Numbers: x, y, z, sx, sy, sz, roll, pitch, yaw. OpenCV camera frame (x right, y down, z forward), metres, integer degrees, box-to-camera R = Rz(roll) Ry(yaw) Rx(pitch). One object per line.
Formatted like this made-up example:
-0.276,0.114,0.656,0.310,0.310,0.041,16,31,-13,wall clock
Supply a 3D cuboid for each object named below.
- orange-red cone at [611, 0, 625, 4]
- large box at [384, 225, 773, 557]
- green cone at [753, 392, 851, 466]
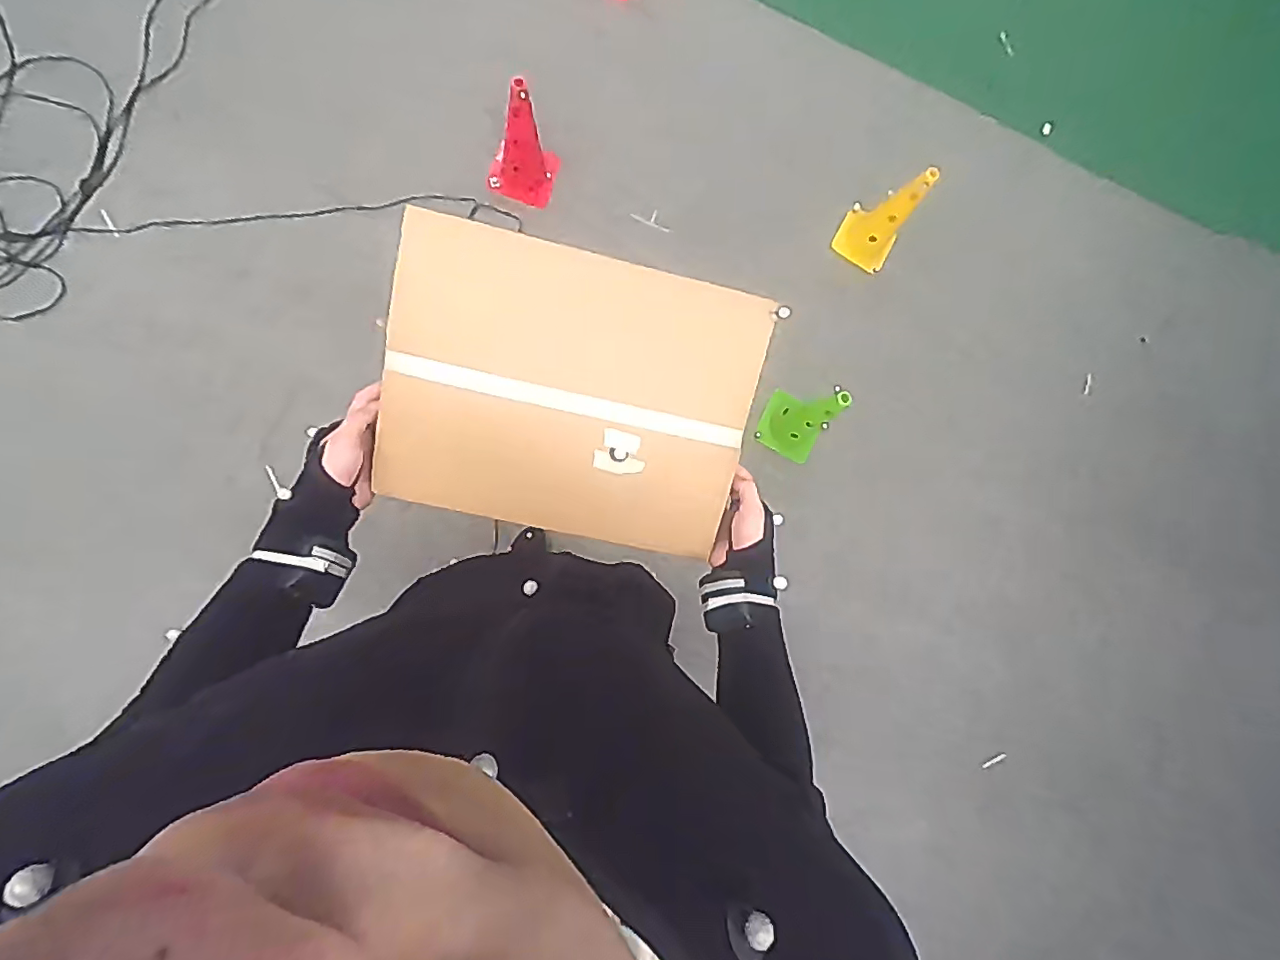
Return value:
-0.080,-1.803,1.728,0.199,0.360,0.198,28,78,-4,orange-red cone
-0.086,-0.118,0.760,0.408,0.320,0.320,12,103,-7,large box
0.526,-0.192,1.644,0.200,0.368,0.202,26,78,-6,green cone
